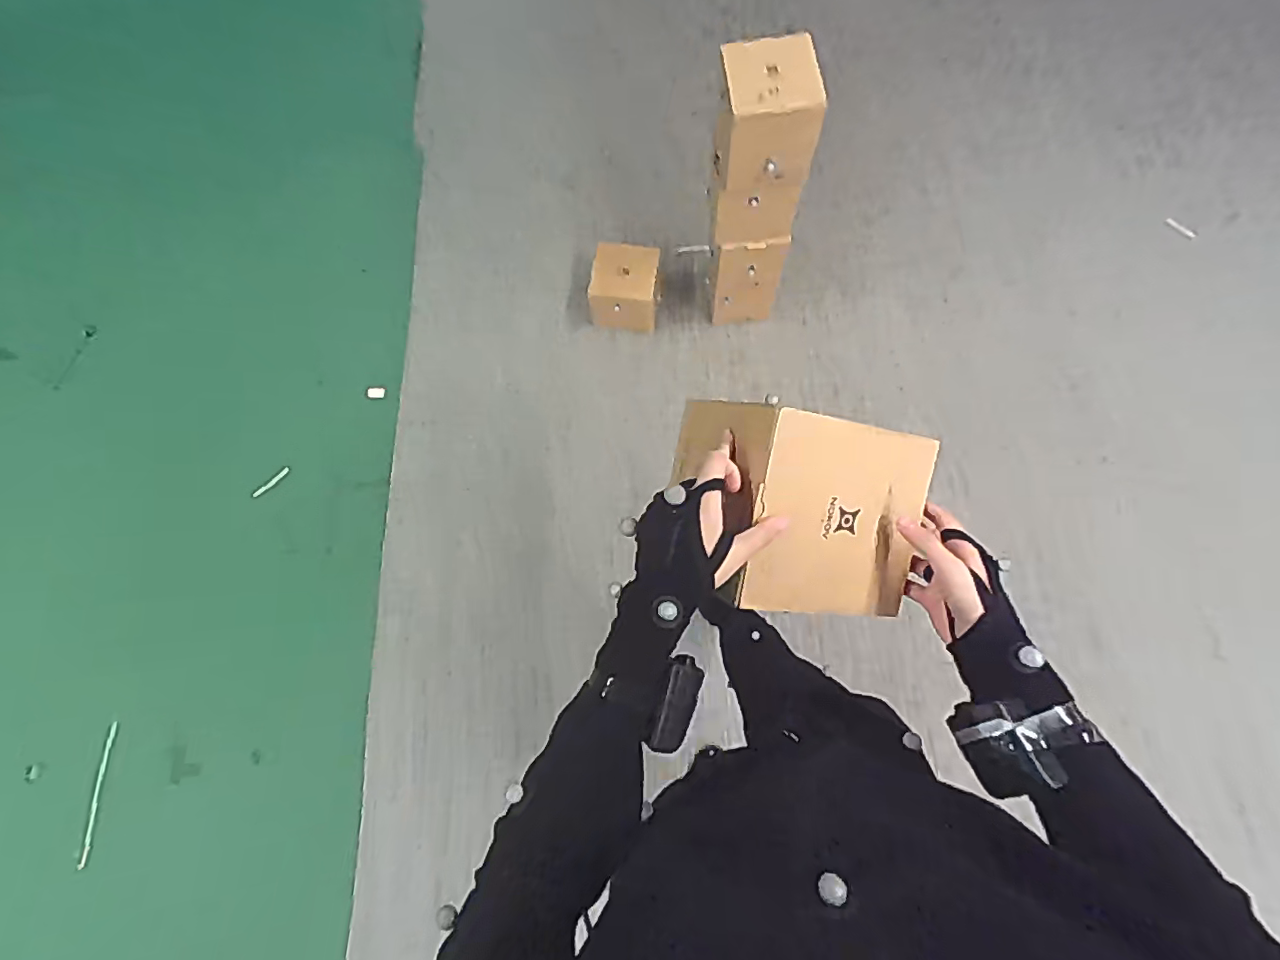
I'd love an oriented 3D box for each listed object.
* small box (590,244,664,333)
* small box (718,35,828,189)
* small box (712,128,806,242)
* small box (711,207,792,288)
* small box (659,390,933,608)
[{"bbox_3d":[-0.030,-0.534,1.525,0.179,0.176,0.168,8,75,7],"label":"small box"},{"bbox_3d":[0.245,-0.700,1.040,0.168,0.176,0.179,-5,73,3],"label":"small box"},{"bbox_3d":[0.253,-0.653,1.198,0.179,0.176,0.168,-4,73,2],"label":"small box"},{"bbox_3d":[0.272,-0.601,1.353,0.168,0.176,0.179,-5,74,2],"label":"small box"},{"bbox_3d":[0.135,0.011,0.524,0.179,0.176,0.168,8,97,-22],"label":"small box"}]
